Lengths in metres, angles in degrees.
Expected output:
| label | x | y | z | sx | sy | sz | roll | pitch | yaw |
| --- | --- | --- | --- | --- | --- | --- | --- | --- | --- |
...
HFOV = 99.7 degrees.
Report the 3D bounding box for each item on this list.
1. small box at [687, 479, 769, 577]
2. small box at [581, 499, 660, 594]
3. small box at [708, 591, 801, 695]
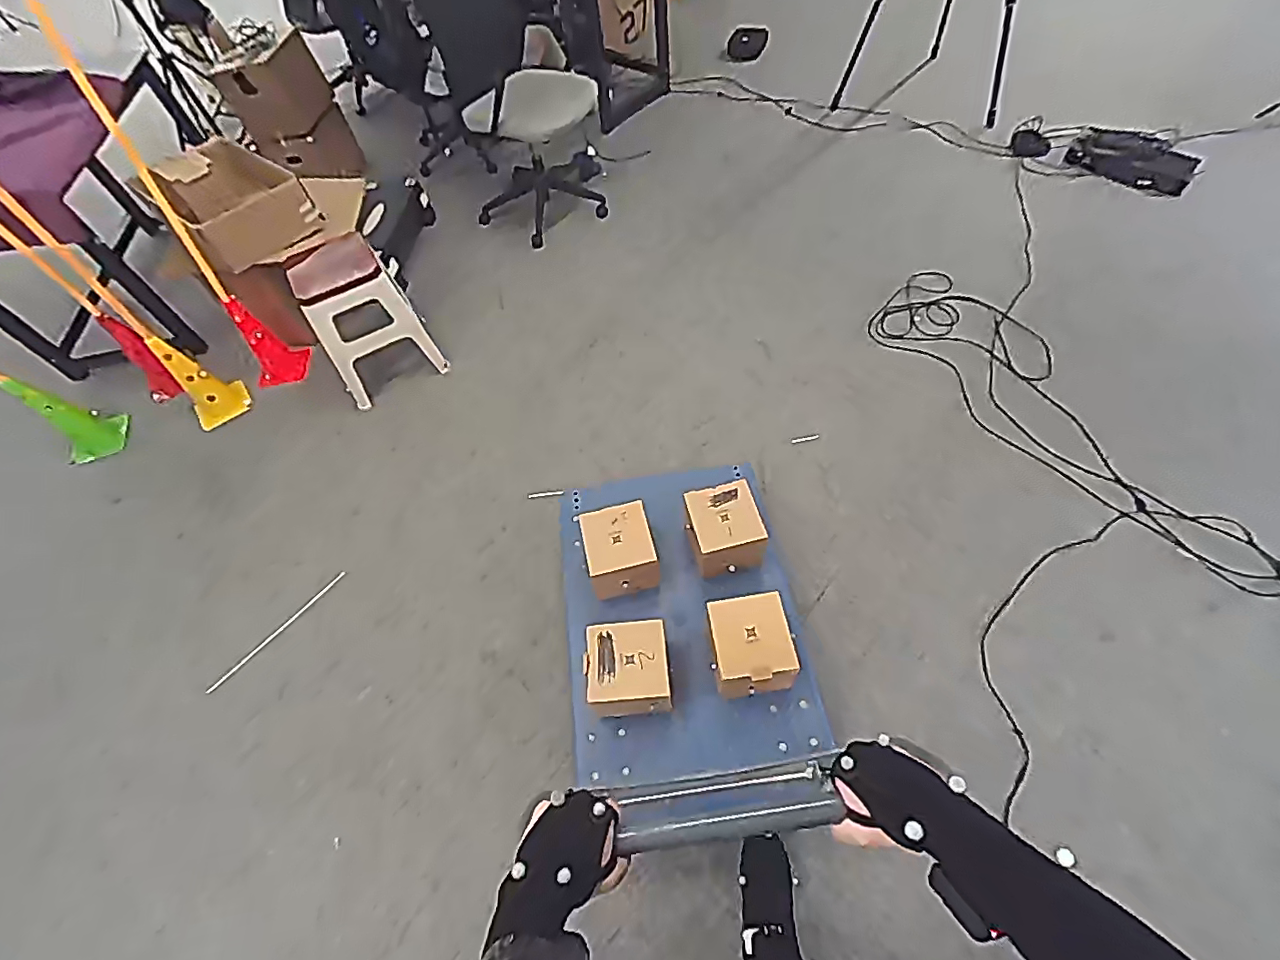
| label | x | y | z | sx | sy | sz | roll | pitch | yaw |
| --- | --- | --- | --- | --- | --- | --- | --- | --- | --- |
| small box | 0.218 | 0.126 | 1.396 | 0.168 | 0.176 | 0.179 | -13 | 58 | -2 |
| small box | -0.047 | 0.179 | 1.389 | 0.168 | 0.176 | 0.179 | -13 | 57 | -3 |
| small box | 0.251 | 0.375 | 1.235 | 0.168 | 0.176 | 0.179 | -9 | 58 | 0 |
